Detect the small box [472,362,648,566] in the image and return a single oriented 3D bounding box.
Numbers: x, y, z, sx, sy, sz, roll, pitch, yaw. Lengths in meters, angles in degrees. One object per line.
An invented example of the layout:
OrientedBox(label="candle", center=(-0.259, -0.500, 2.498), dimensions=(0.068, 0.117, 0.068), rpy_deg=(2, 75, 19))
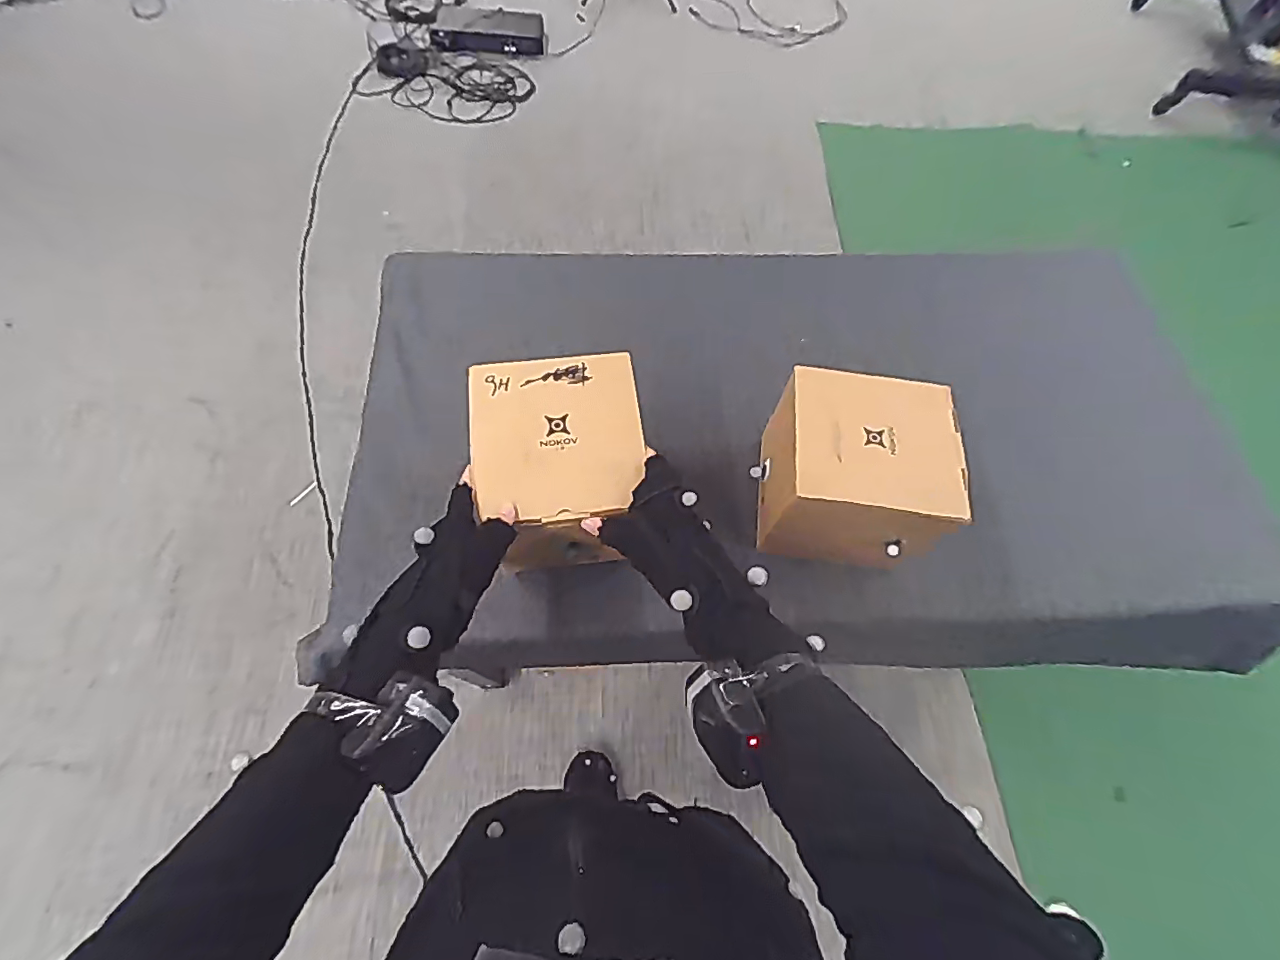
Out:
OrientedBox(label="small box", center=(-0.085, -0.007, 0.599), dimensions=(0.168, 0.176, 0.179), rpy_deg=(-5, 68, -6))
